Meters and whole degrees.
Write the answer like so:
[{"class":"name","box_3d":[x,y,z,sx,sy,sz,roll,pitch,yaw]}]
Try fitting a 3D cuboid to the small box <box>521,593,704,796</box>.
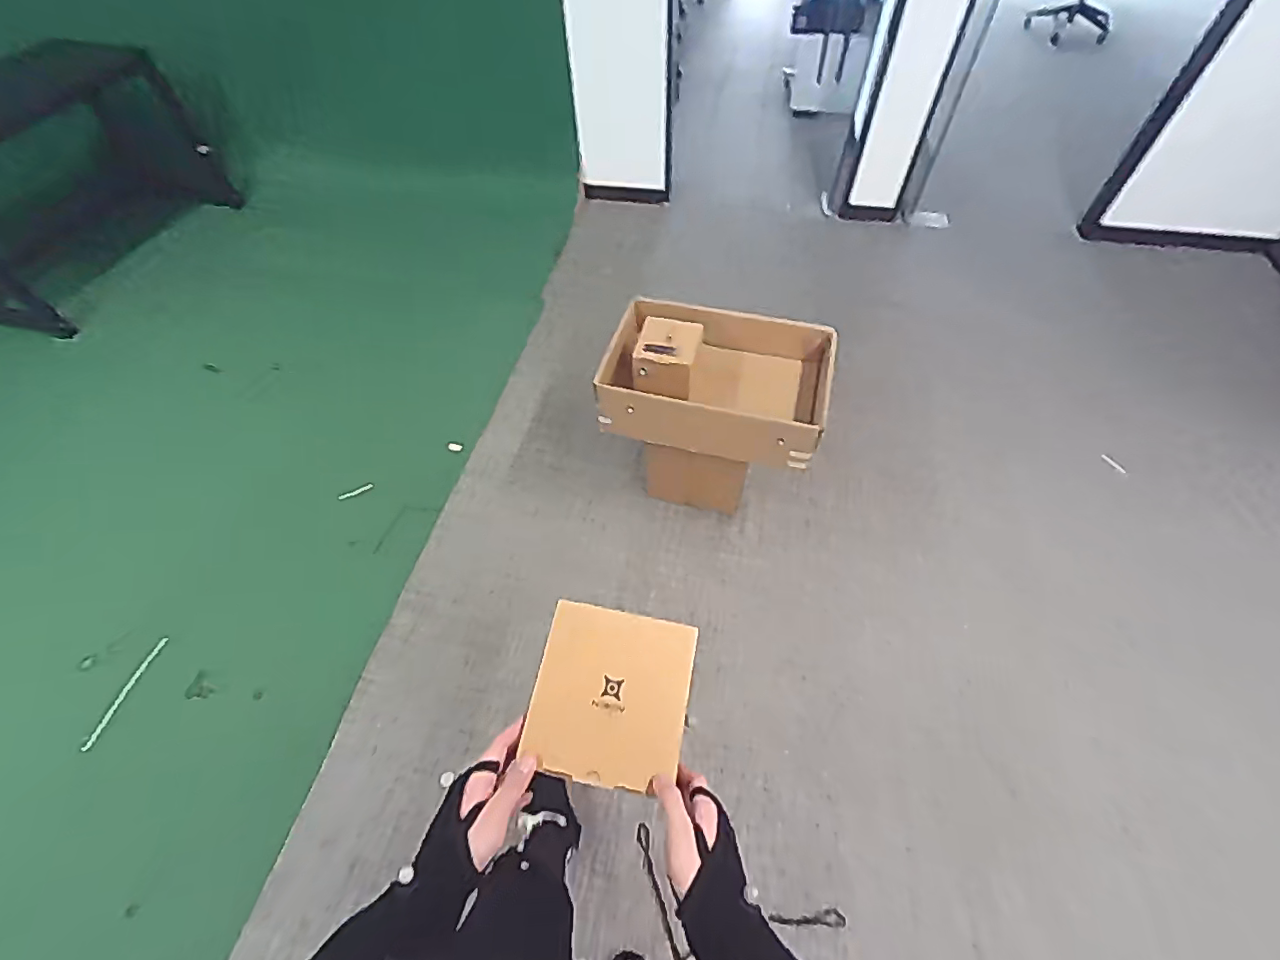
[{"class":"small box","box_3d":[-0.026,0.255,0.650,0.168,0.176,0.179,11,66,5]}]
